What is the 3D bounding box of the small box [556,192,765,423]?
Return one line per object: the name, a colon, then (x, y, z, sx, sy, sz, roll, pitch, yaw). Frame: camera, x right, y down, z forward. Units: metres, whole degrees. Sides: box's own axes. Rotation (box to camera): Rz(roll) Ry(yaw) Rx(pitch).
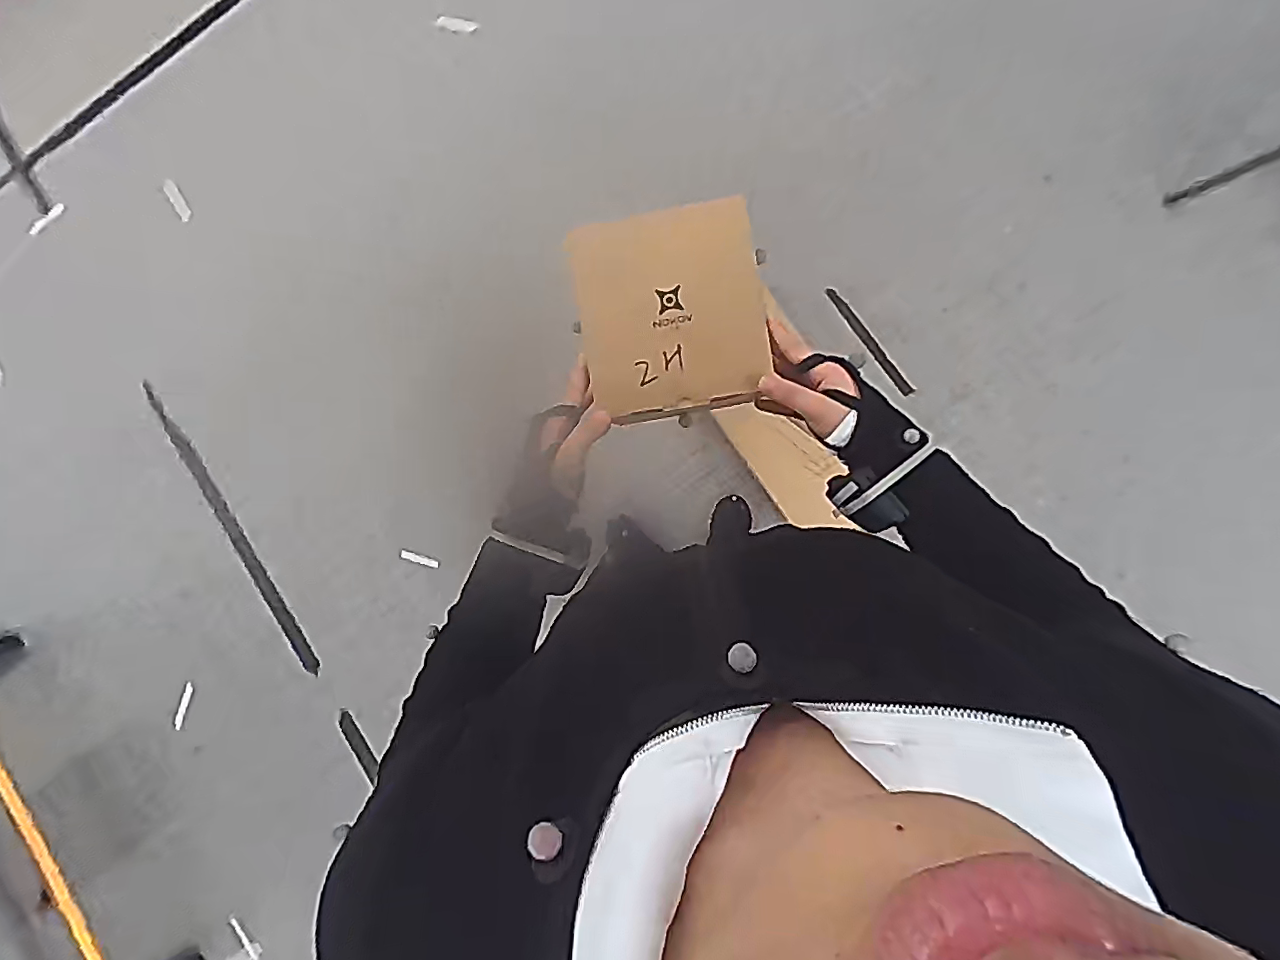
small box: (0.022, -0.160, 0.563, 0.168, 0.176, 0.179, -11, 94, 5)
